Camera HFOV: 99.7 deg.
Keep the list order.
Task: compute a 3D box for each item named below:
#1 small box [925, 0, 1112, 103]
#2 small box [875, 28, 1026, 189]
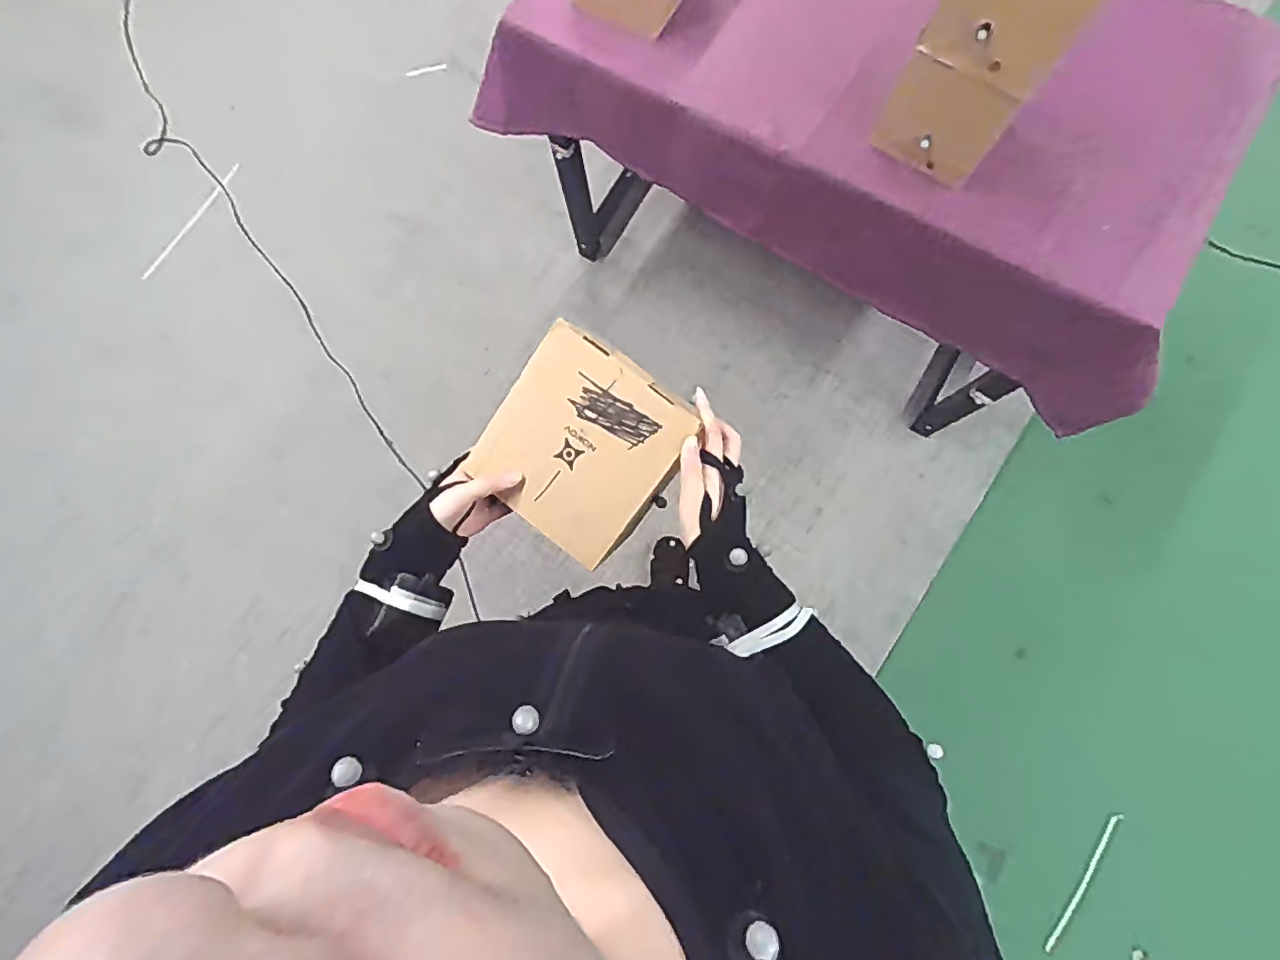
[{"bbox_3d":[0.486,-0.618,0.652,0.168,0.176,0.179,33,84,7],"label":"small box"},{"bbox_3d":[0.489,-0.591,0.813,0.168,0.176,0.179,33,83,8],"label":"small box"}]
